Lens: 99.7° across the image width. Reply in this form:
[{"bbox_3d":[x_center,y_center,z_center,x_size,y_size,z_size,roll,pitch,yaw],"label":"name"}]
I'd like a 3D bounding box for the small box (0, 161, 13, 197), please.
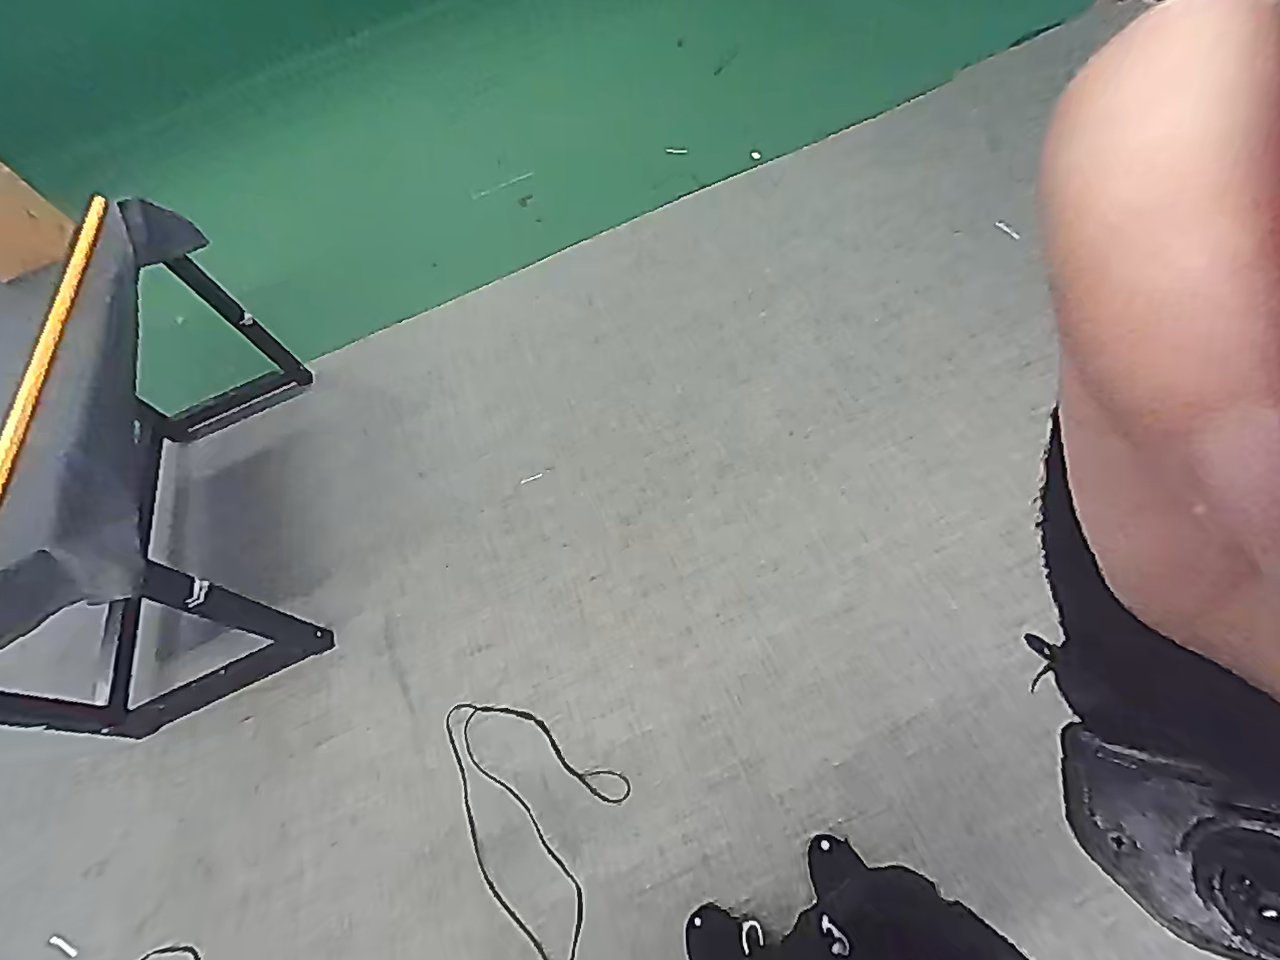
[{"bbox_3d":[-1.652,-0.725,1.258,0.179,0.176,0.168,-25,59,-3],"label":"small box"}]

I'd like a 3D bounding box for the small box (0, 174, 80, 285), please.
[{"bbox_3d":[-1.616,-0.641,1.393,0.179,0.176,0.168,-24,58,-1],"label":"small box"}]
